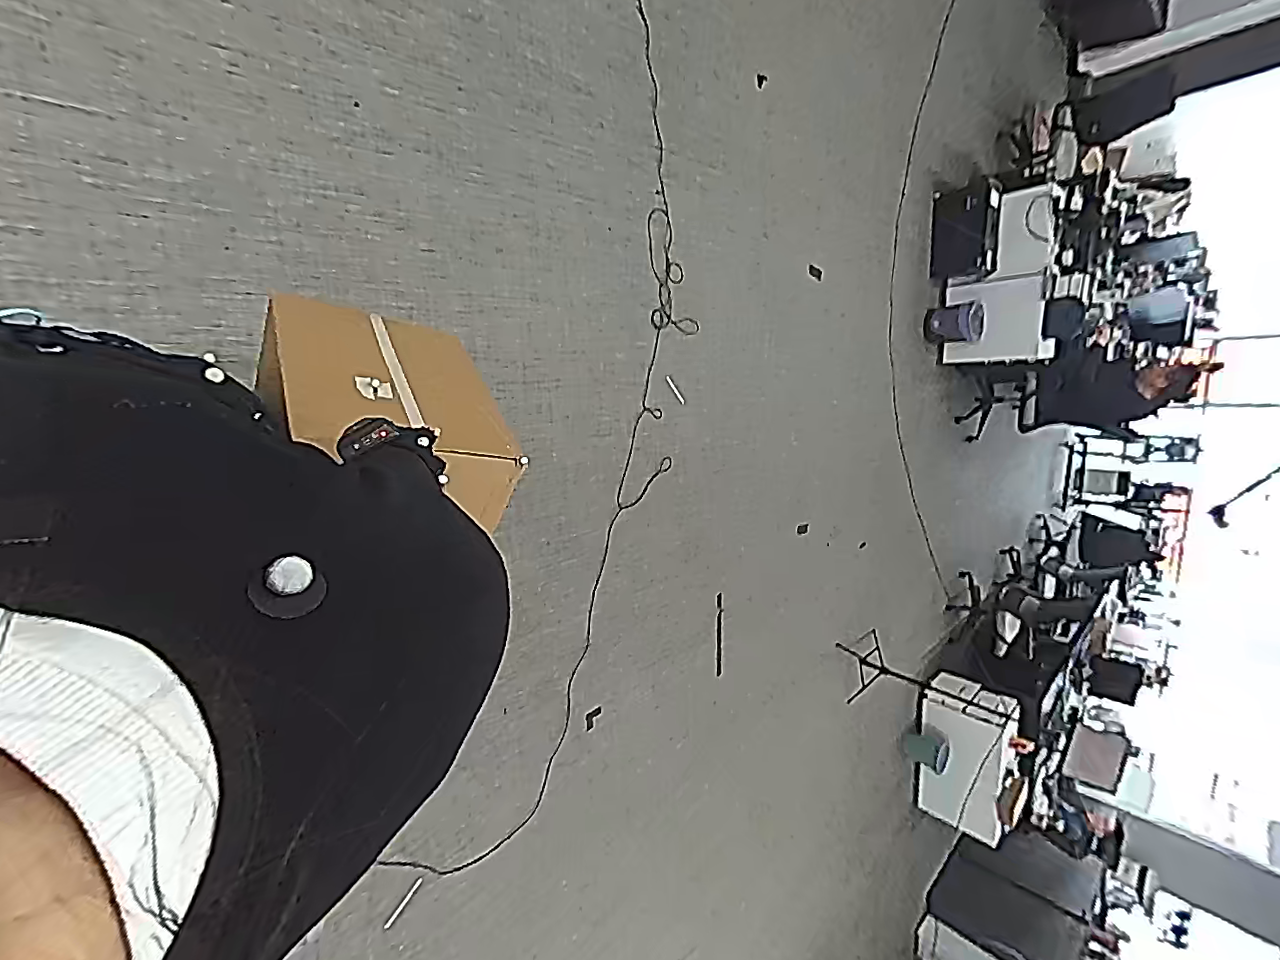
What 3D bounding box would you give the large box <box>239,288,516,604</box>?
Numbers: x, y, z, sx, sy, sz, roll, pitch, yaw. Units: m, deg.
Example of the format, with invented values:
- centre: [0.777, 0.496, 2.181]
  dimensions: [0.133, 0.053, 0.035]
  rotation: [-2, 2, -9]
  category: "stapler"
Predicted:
- centre: [-0.464, -0.053, 0.912]
  dimensions: [0.320, 0.408, 0.320]
  rotation: [4, 130, -40]
  category: "large box"
